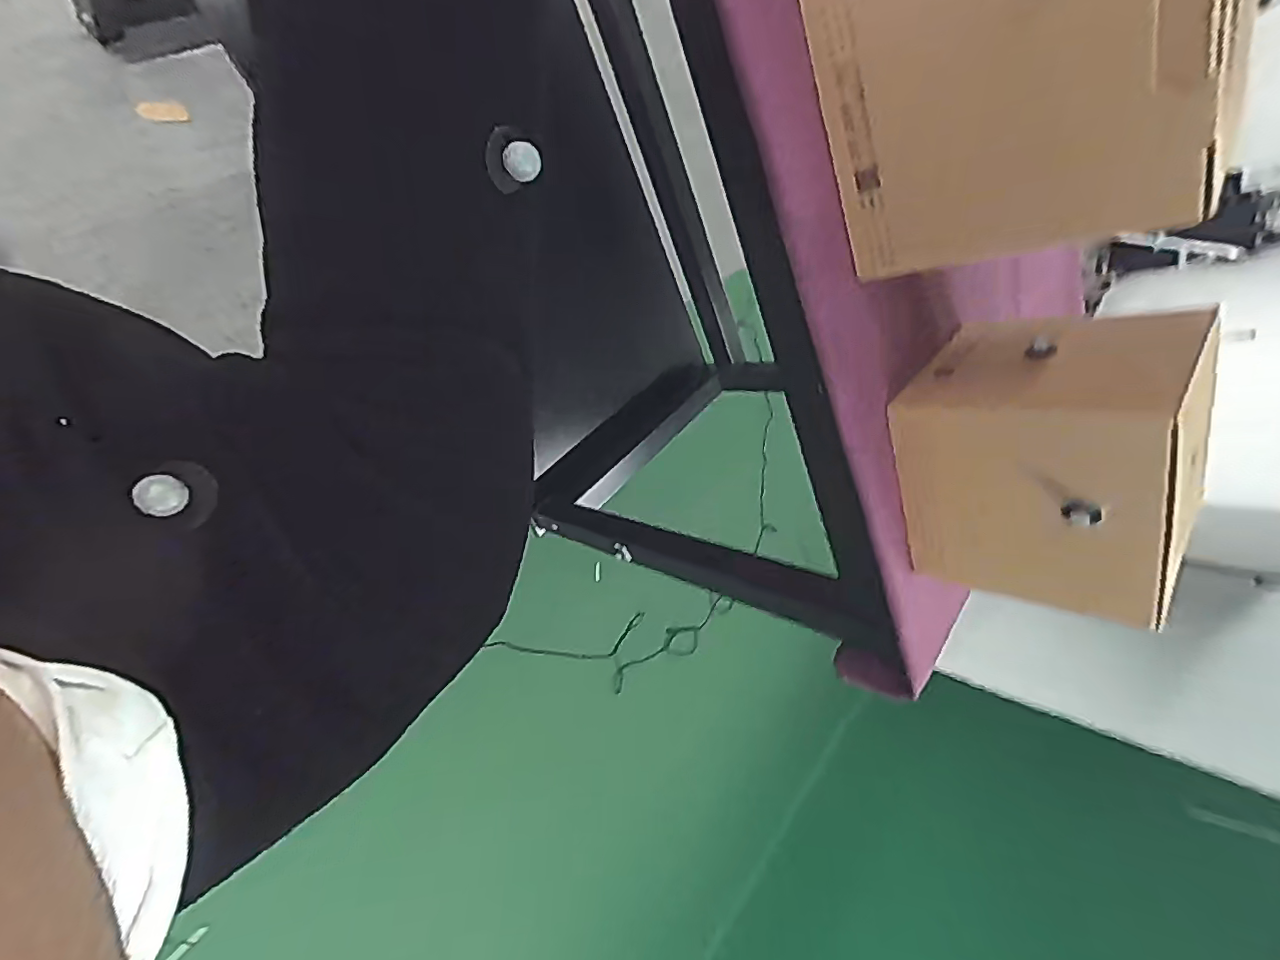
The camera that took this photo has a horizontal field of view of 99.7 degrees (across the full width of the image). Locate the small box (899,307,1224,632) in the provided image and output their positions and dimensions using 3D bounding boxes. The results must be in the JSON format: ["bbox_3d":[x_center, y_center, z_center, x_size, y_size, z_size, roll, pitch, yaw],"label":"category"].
[{"bbox_3d":[0.327,-0.017,0.433,0.168,0.176,0.179,-37,119,-29],"label":"small box"}]
